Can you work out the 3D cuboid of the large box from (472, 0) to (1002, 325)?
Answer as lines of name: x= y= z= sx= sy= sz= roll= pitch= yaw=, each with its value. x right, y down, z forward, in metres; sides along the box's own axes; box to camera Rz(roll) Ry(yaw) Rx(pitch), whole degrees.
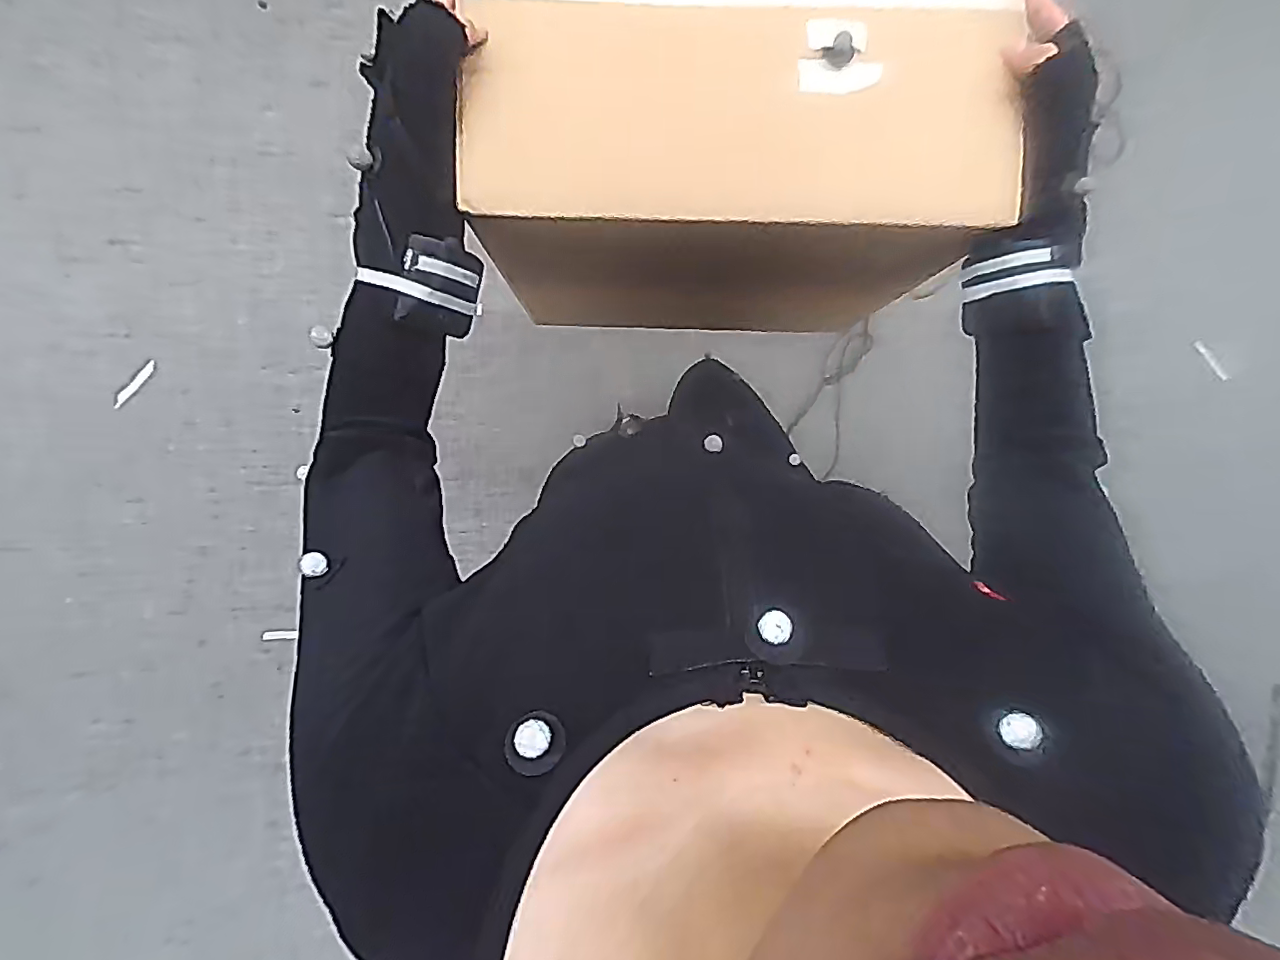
large box: x=0.068 y=-0.353 z=0.551 sx=0.408 sy=0.320 sz=0.320 roll=0 pitch=91 yaw=-2
